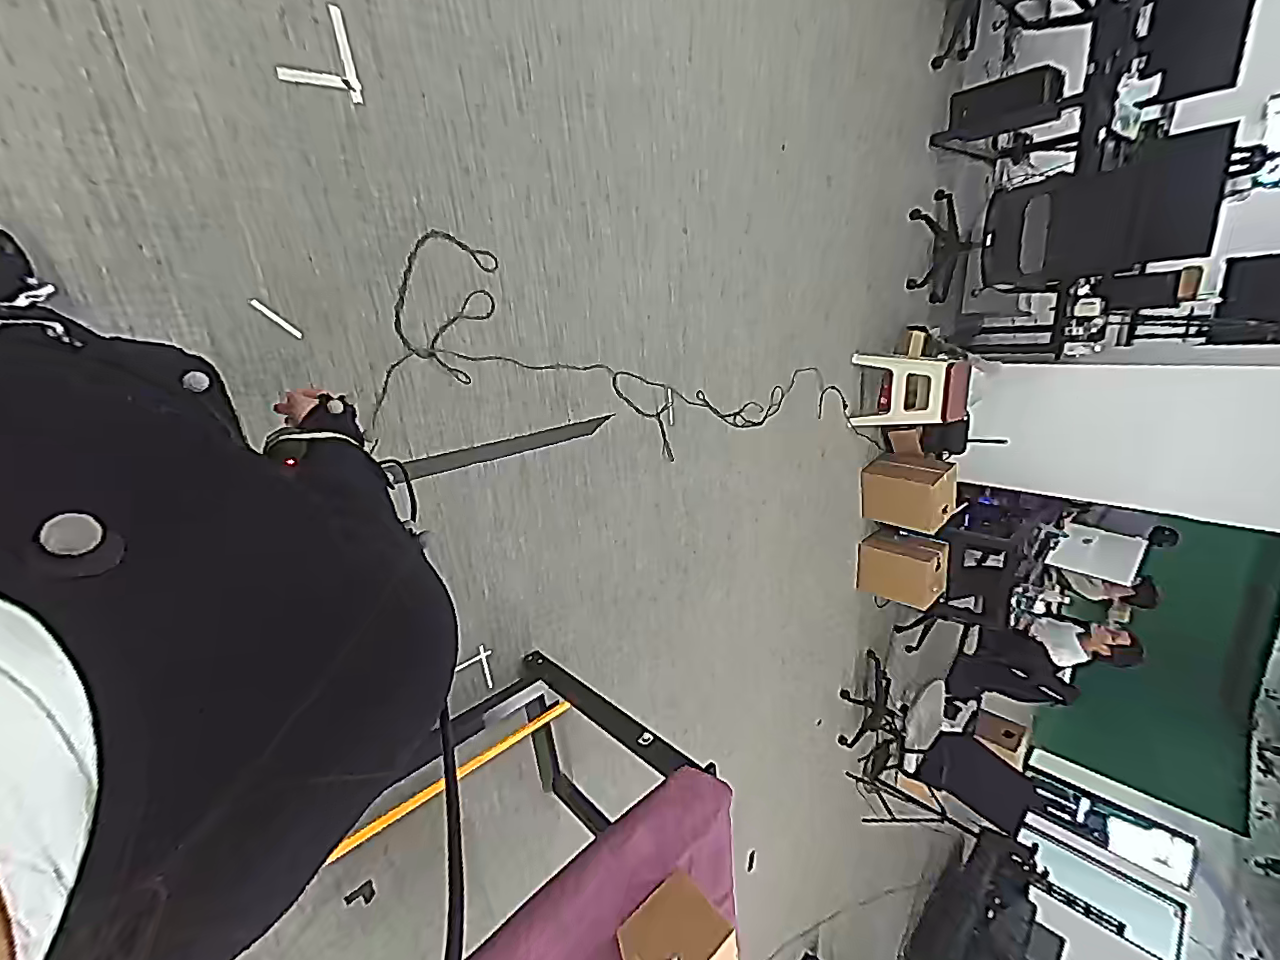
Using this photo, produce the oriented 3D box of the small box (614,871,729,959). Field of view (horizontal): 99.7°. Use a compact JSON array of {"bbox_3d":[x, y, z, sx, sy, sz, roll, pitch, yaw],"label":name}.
[{"bbox_3d":[0.061,0.964,1.099,0.179,0.176,0.168,-22,115,-36],"label":"small box"}]
